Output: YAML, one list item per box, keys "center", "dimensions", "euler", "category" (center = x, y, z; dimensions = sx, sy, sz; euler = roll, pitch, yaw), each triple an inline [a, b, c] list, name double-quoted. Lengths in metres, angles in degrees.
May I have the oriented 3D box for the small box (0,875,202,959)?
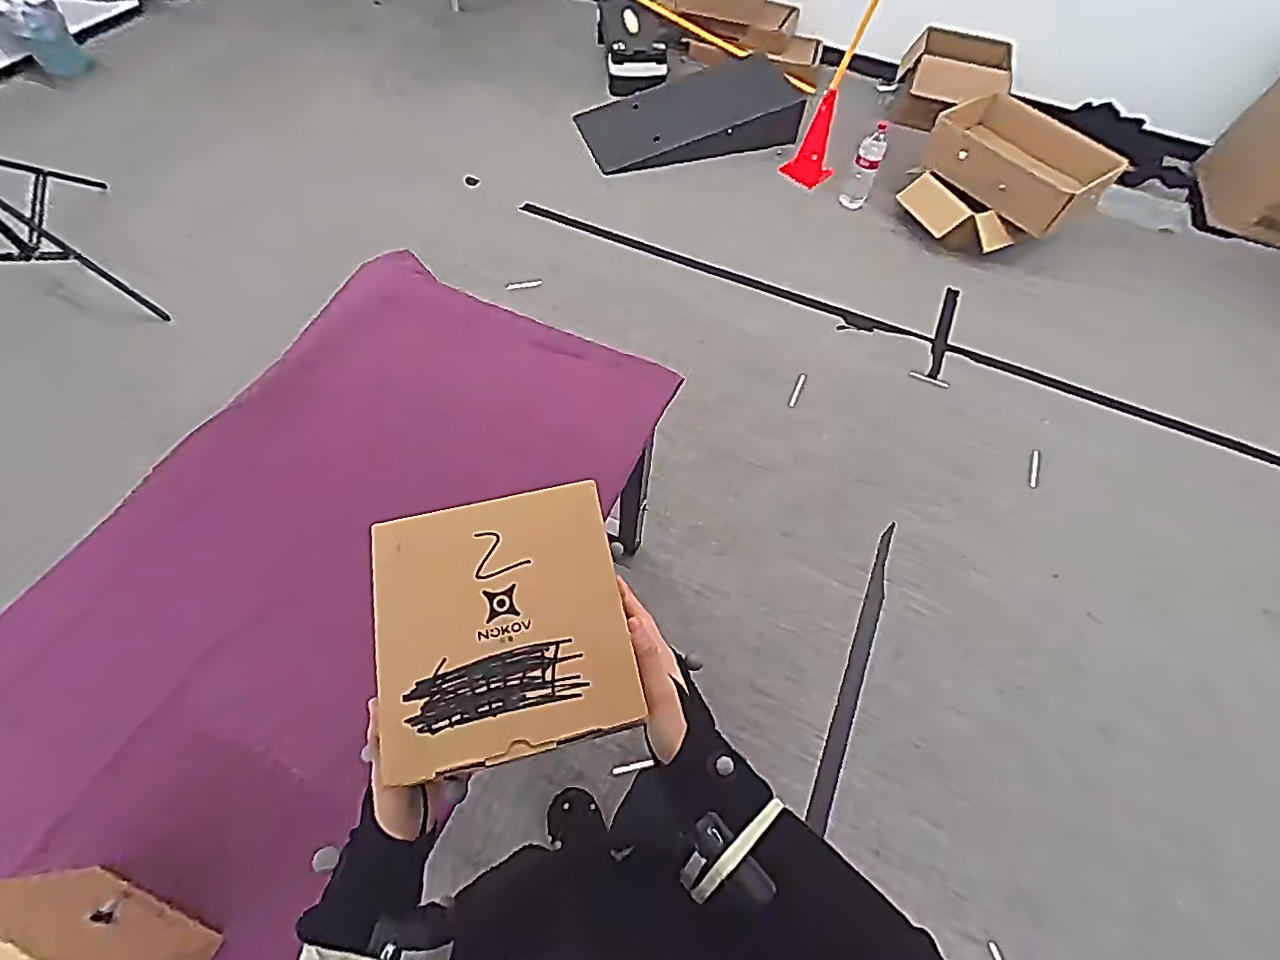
- center: [-0.513, 0.455, 0.437]
  dimensions: [0.168, 0.176, 0.179]
  euler: [19, 61, 9]
  category: "small box"
